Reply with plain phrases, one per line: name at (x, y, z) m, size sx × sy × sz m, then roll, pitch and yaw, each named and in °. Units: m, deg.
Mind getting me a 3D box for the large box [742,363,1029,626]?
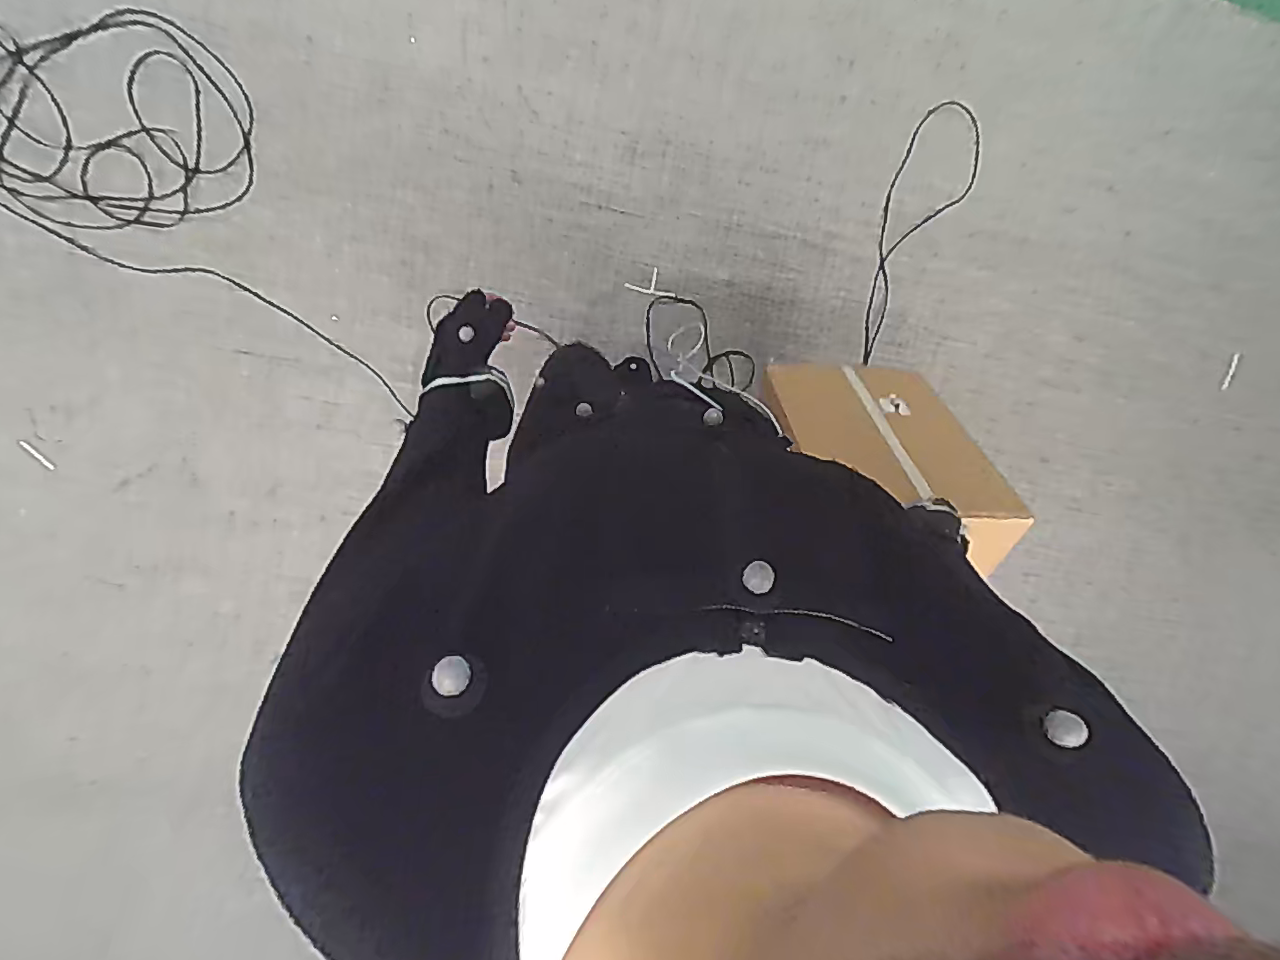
large box at (0.402, 0.021, 1.020) m, size 0.320 × 0.408 × 0.320 m, roll 1°, pitch 133°, yaw -5°
